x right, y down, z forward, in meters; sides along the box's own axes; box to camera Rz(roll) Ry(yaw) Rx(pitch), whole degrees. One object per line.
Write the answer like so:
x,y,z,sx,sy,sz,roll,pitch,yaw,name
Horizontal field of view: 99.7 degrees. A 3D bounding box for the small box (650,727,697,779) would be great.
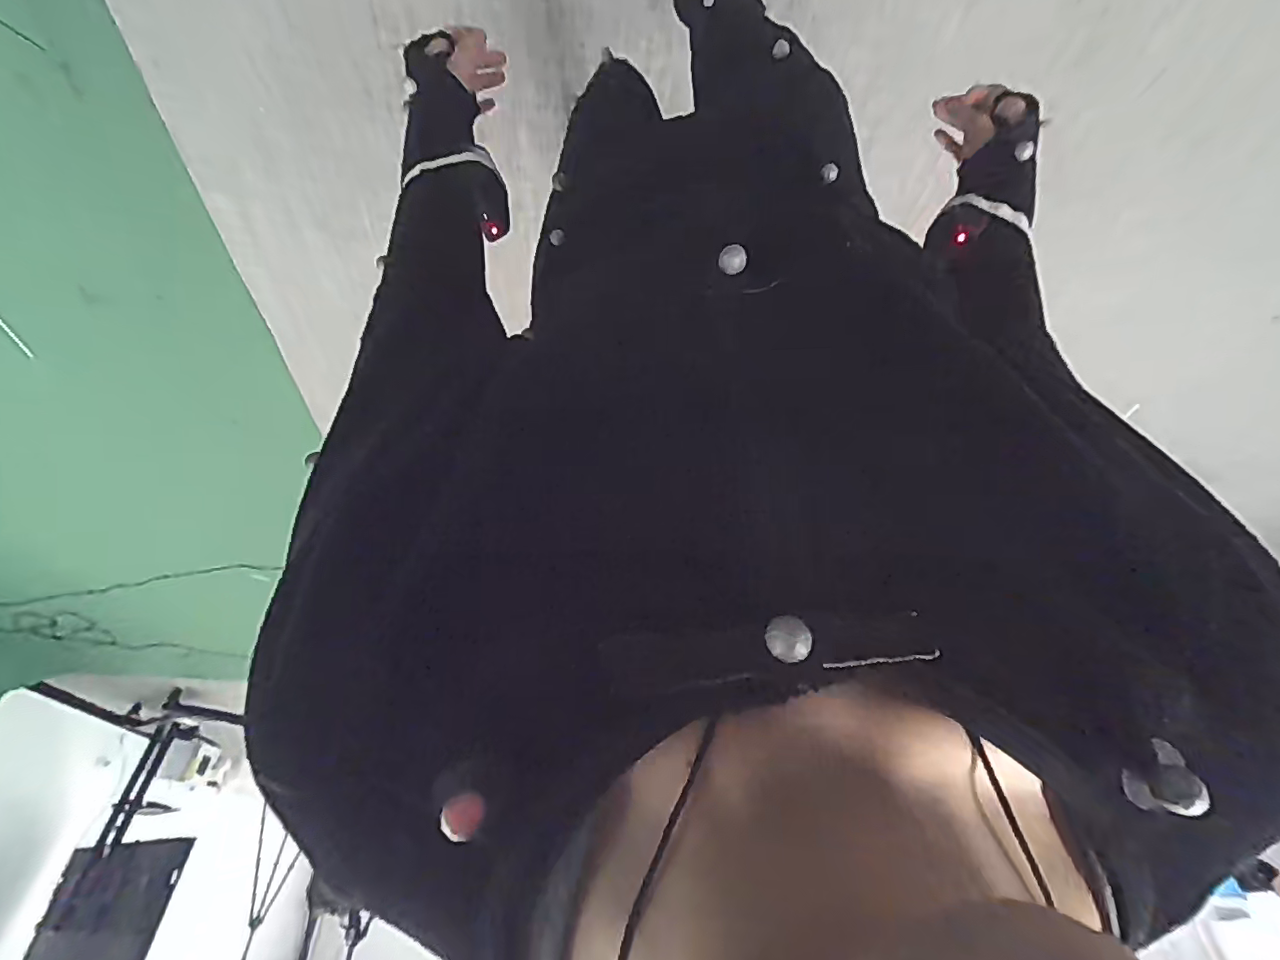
0.135,1.140,2.255,0.168,0.176,0.179,6,142,-5,small box
